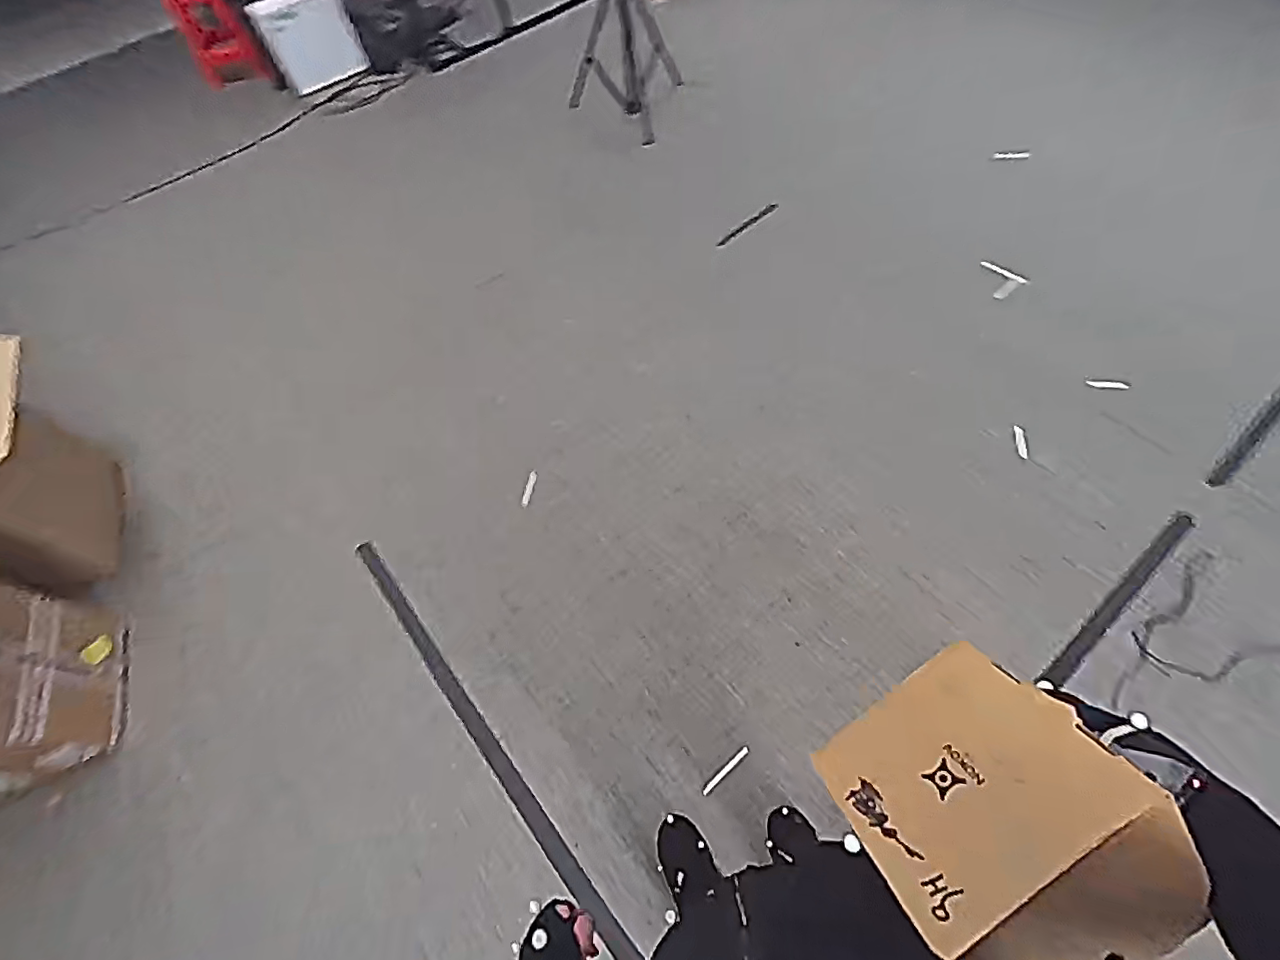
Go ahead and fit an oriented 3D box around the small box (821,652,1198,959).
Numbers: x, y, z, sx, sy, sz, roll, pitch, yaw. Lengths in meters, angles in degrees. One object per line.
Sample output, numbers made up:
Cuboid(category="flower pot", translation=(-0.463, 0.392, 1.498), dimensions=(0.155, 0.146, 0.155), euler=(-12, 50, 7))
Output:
Cuboid(category="small box", translation=(0.292, 0.288, 0.442), dimensions=(0.179, 0.176, 0.168), euler=(-39, 21, 2))
